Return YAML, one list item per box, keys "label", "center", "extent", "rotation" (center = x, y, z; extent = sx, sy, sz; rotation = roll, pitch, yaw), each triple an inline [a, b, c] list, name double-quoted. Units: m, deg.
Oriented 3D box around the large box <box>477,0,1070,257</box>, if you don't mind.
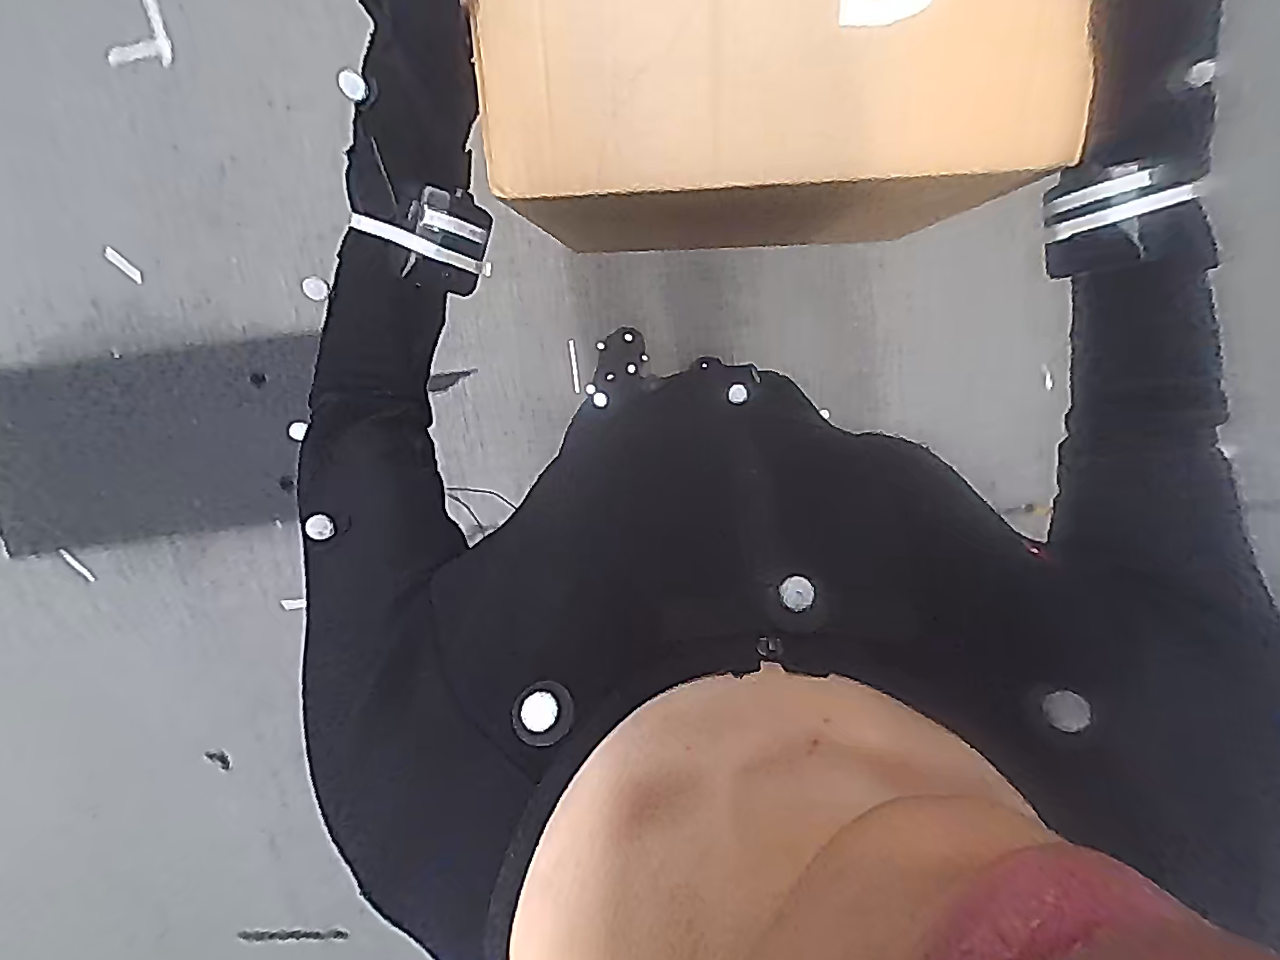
- label: "large box"
  center: [0.089, -0.405, 0.498]
  extent: [0.408, 0.320, 0.320]
  rotation: [-2, 105, 4]
